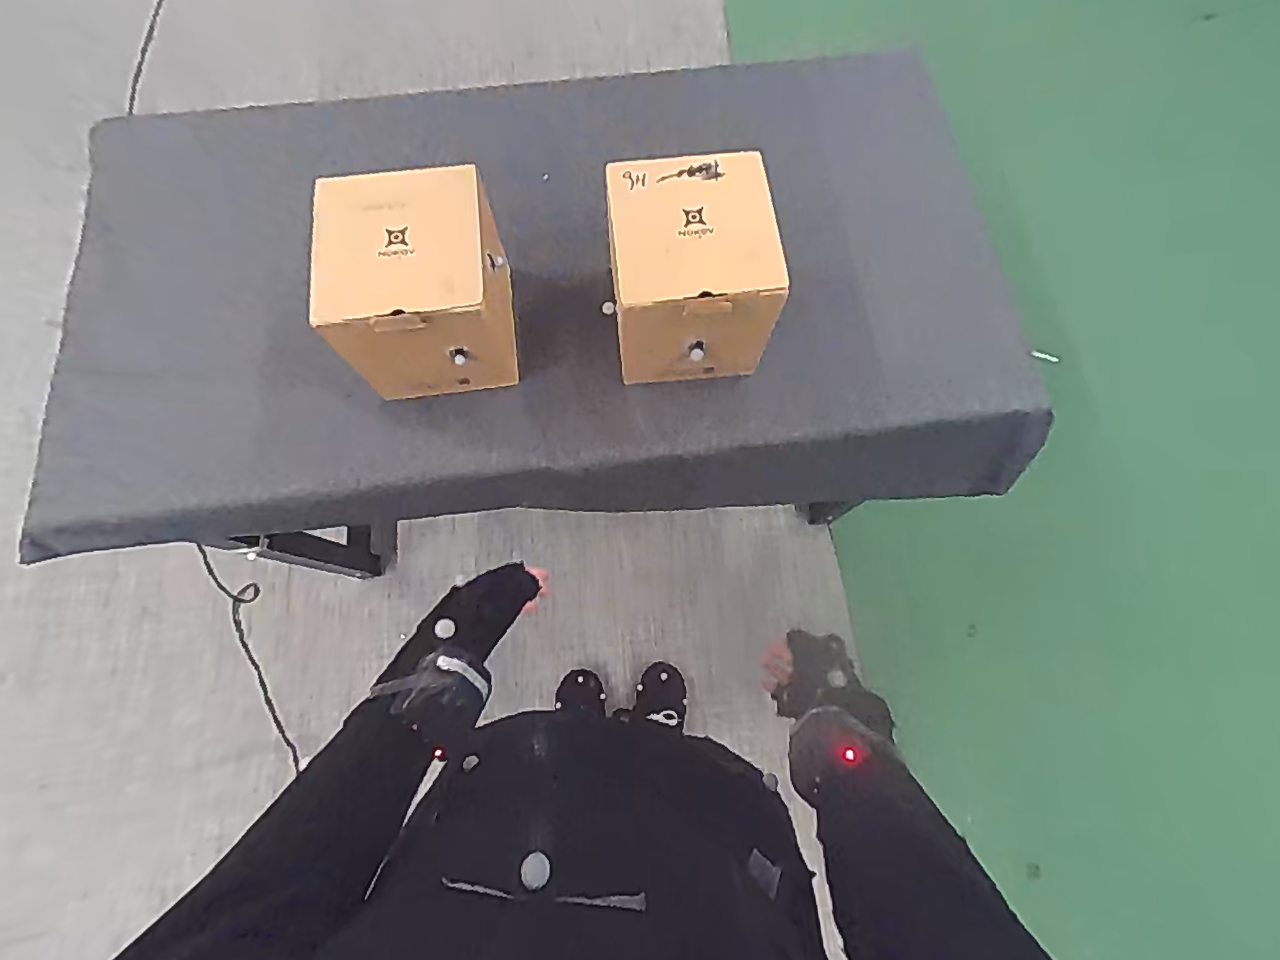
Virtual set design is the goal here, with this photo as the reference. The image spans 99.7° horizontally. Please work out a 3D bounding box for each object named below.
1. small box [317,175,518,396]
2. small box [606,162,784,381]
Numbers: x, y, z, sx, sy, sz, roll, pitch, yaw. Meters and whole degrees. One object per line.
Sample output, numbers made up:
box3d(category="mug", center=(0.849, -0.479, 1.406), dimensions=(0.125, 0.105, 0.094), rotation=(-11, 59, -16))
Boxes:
box3d(category="small box", center=(-0.241, -0.208, 0.622), dimensions=(0.168, 0.176, 0.179), rotation=(-8, 72, -4))
box3d(category="small box", center=(0.054, -0.227, 0.628), dimensions=(0.168, 0.176, 0.179), rotation=(-6, 73, -2))
